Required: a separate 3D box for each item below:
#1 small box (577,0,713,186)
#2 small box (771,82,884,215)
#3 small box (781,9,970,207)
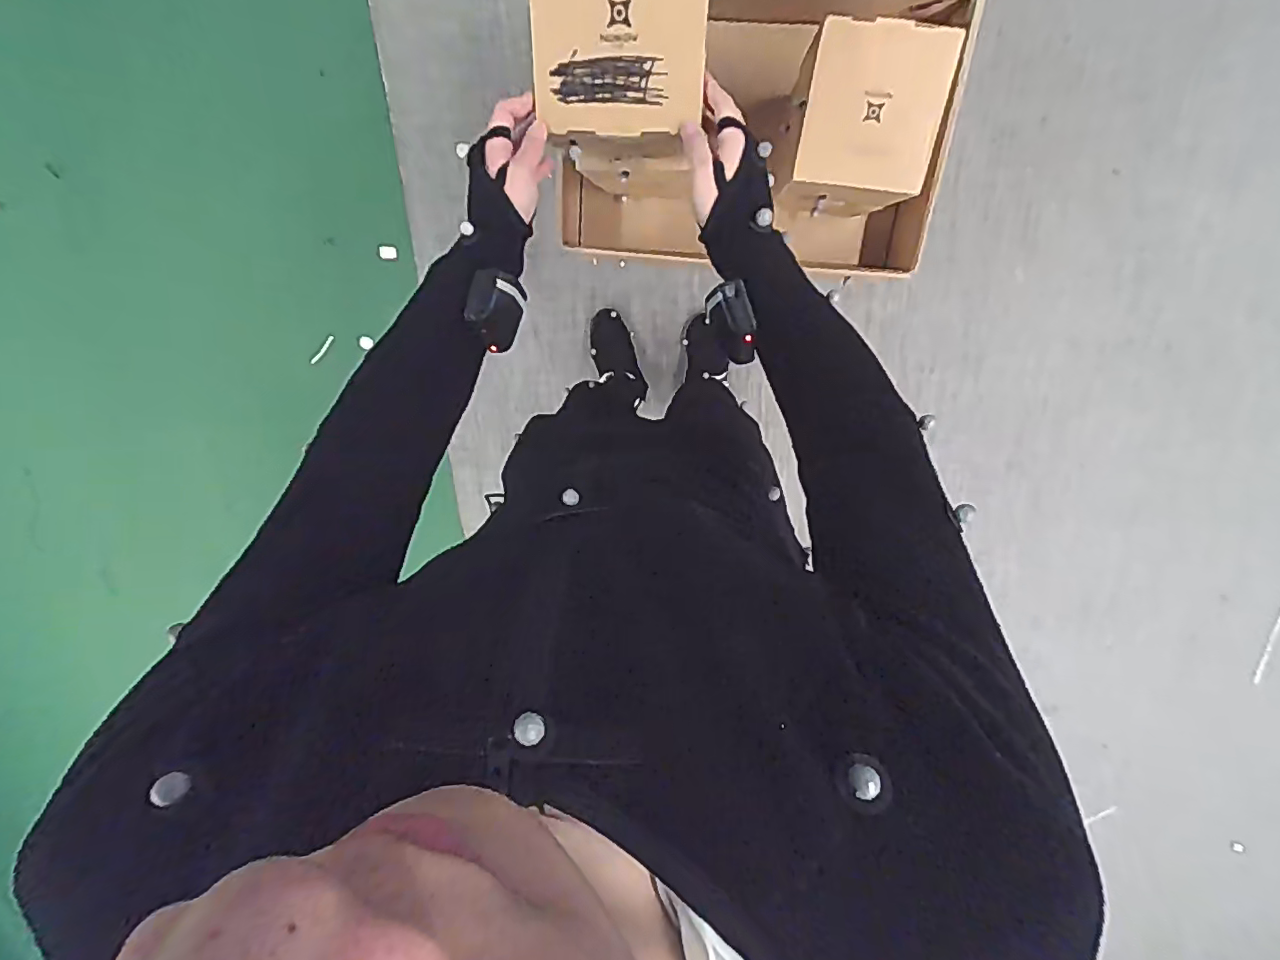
[{"bbox_3d":[0.009,-0.519,0.746,0.168,0.176,0.179,4,112,5],"label":"small box"},{"bbox_3d":[0.319,-0.545,0.882,0.168,0.176,0.179,10,113,3],"label":"small box"},{"bbox_3d":[0.298,-0.484,0.731,0.168,0.176,0.179,9,113,2],"label":"small box"}]
